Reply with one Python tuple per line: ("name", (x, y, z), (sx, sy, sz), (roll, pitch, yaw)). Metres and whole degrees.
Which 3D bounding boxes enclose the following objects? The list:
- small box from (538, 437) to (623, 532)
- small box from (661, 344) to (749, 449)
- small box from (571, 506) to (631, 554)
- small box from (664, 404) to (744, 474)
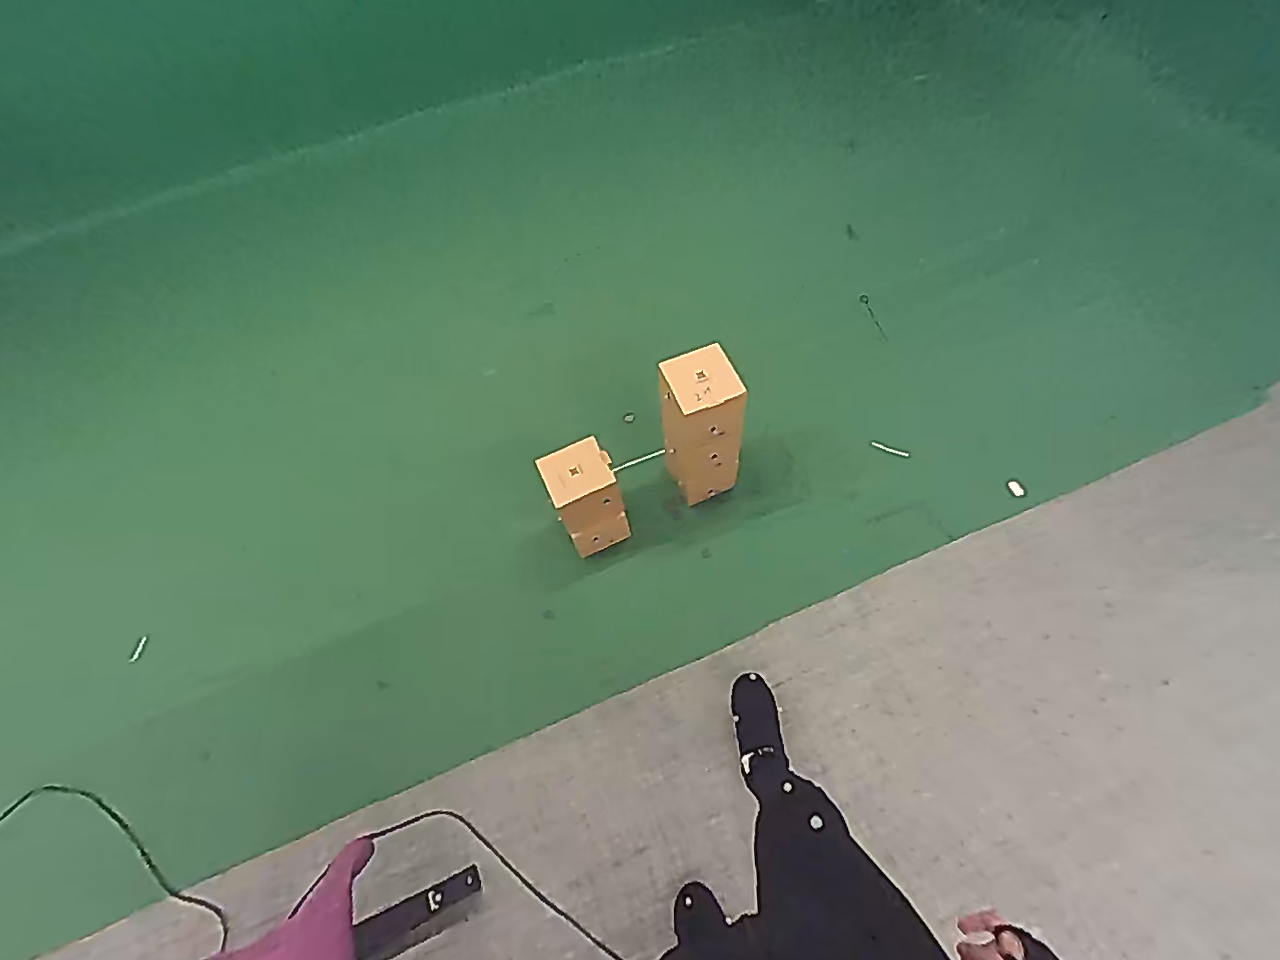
("small box", (-0.156, 0.016, 1.491), (0.179, 0.176, 0.168), (-25, 61, -7))
("small box", (0.161, -0.211, 1.390), (0.168, 0.176, 0.179), (-20, 63, -5))
("small box", (-0.136, 0.105, 1.626), (0.168, 0.176, 0.179), (-24, 62, -7))
("small box", (0.178, -0.135, 1.535), (0.168, 0.176, 0.179), (-21, 64, -7))
